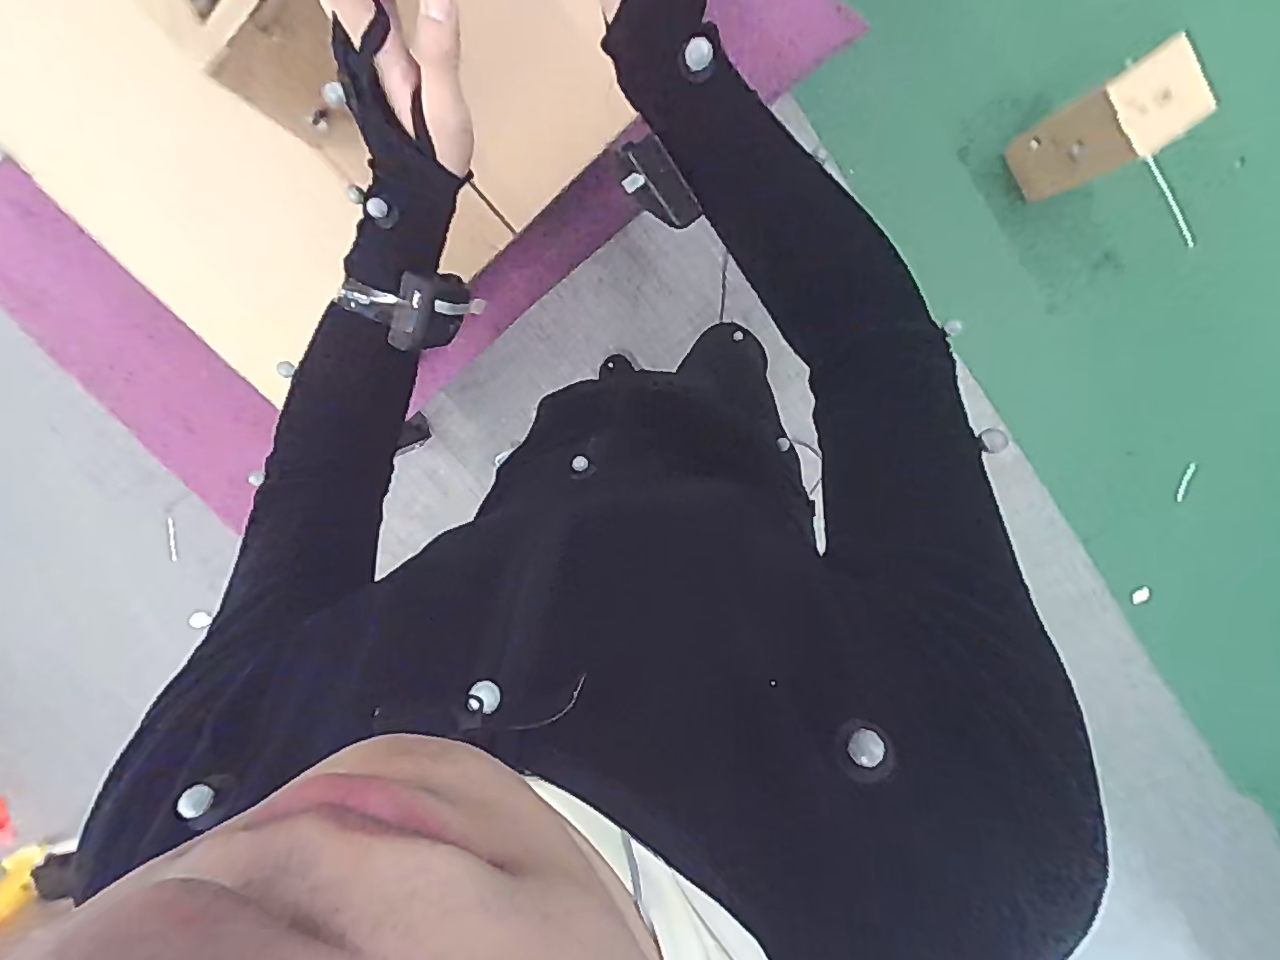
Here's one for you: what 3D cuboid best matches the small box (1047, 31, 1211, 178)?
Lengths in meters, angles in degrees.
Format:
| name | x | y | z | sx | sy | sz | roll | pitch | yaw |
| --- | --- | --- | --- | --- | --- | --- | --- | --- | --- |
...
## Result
| name | x | y | z | sx | sy | sz | roll | pitch | yaw |
| --- | --- | --- | --- | --- | --- | --- | --- | --- | --- |
| small box | 1.055 | -0.805 | 1.181 | 0.179 | 0.176 | 0.168 | -35 | 100 | 8 |

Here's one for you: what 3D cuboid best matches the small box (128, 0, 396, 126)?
| name | x | y | z | sx | sy | sz | roll | pitch | yaw |
| --- | --- | --- | --- | --- | --- | --- | --- | --- | --- |
| small box | -0.366 | -0.470 | 0.499 | 0.168 | 0.176 | 0.179 | -42 | 100 | 7 |
